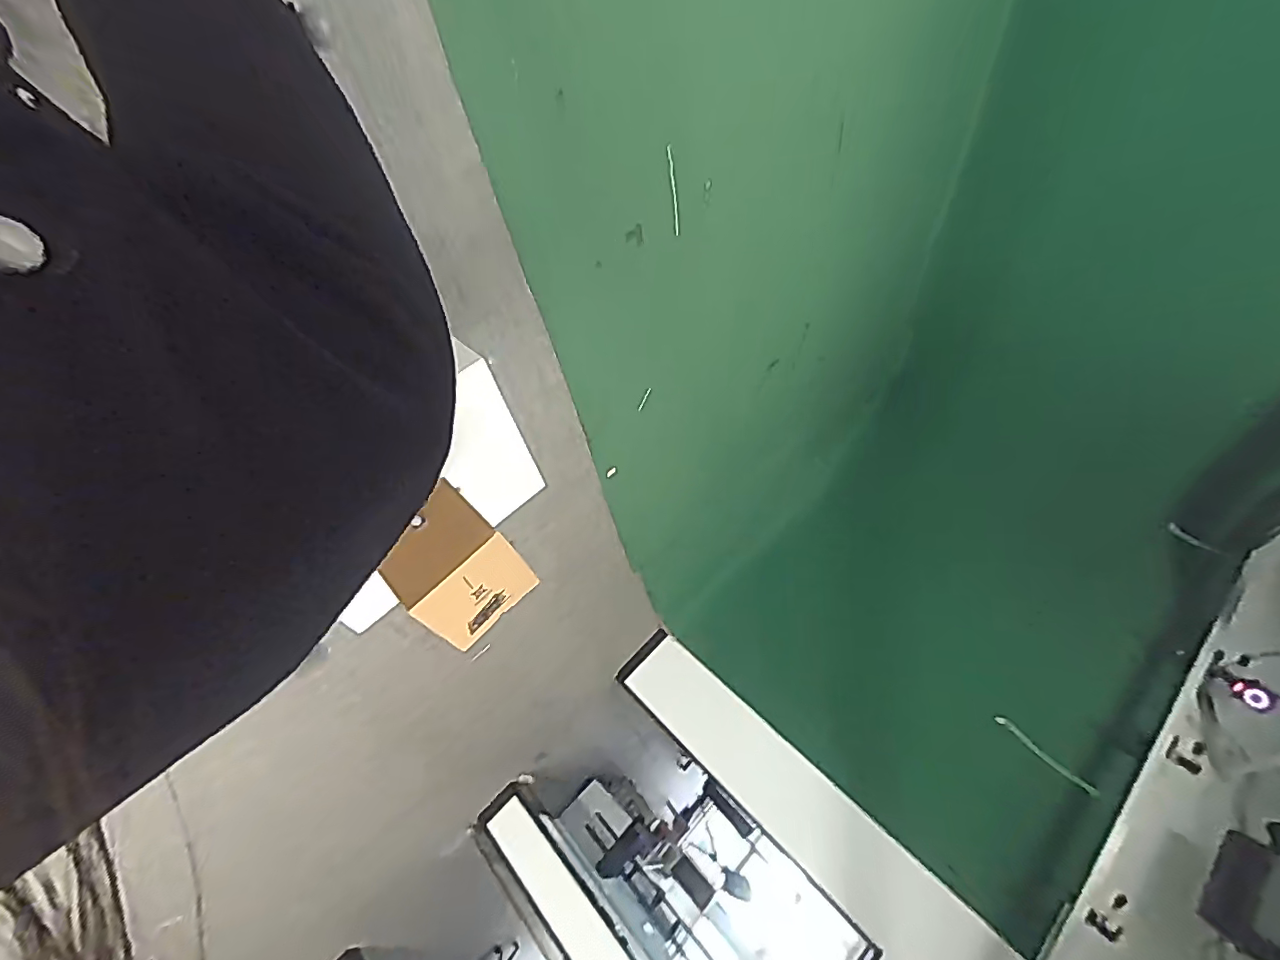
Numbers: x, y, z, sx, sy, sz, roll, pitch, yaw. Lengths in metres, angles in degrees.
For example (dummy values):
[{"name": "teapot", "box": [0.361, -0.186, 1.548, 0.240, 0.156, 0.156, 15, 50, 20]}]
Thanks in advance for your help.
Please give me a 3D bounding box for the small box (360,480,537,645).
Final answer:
[{"name": "small box", "box": [-0.301, 0.129, 0.866, 0.168, 0.176, 0.179, -44, 149, -14]}]
